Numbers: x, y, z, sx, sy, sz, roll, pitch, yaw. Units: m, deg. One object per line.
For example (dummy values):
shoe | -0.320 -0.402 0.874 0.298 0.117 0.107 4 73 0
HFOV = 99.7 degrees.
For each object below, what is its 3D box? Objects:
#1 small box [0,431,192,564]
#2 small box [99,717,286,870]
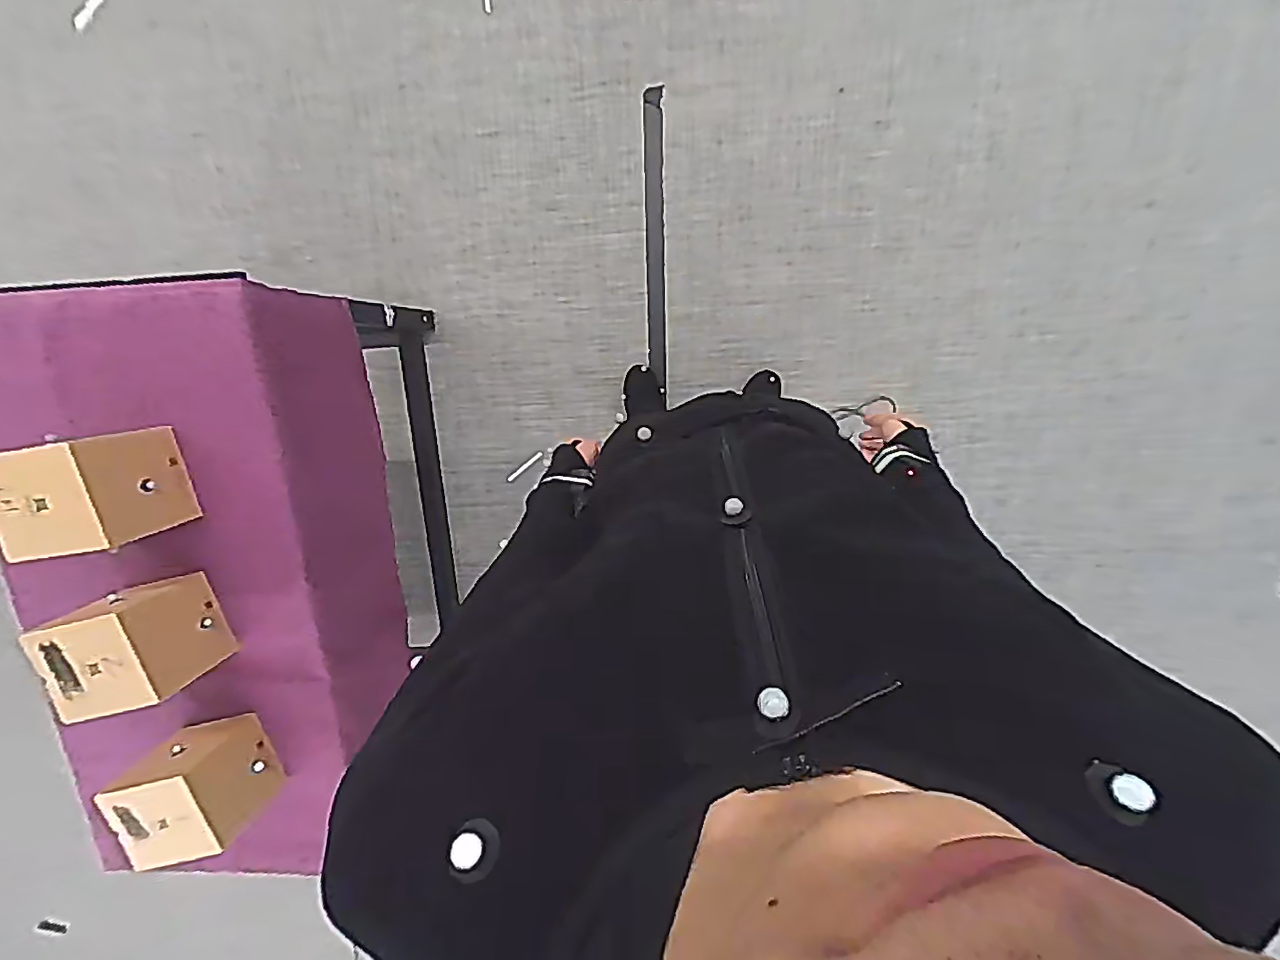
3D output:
small box | -0.882 0.021 0.876 0.179 0.176 0.168 -8 103 6
small box | -0.818 0.575 1.008 0.179 0.176 0.168 -15 103 7
